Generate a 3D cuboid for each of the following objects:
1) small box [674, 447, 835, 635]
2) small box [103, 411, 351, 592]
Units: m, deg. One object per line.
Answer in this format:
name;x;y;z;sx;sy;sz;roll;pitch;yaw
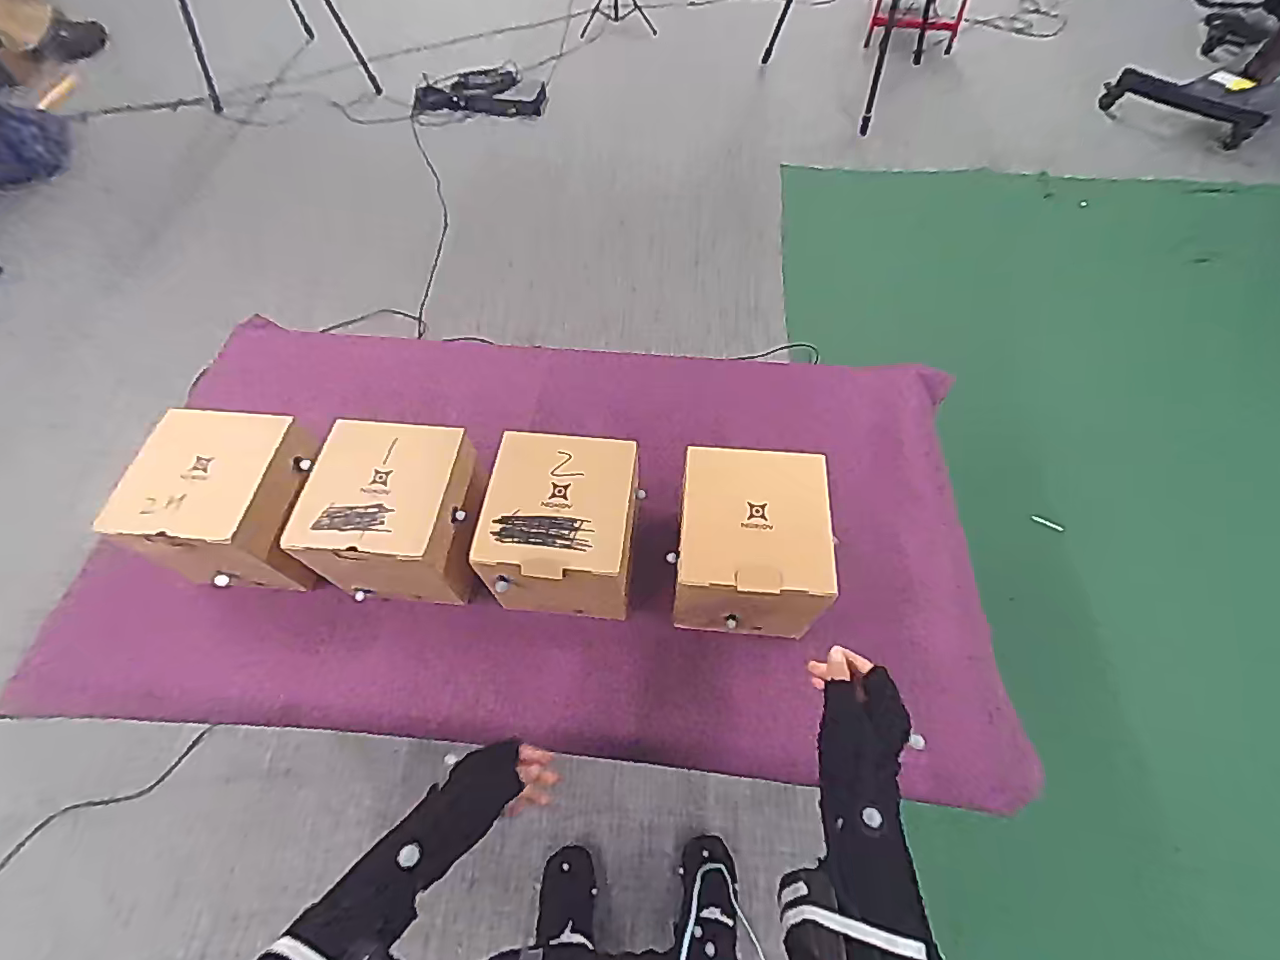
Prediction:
small box;0.132;0.081;0.678;0.168;0.176;0.179;4;60;3
small box;-0.517;0.032;0.715;0.168;0.176;0.179;4;60;3
